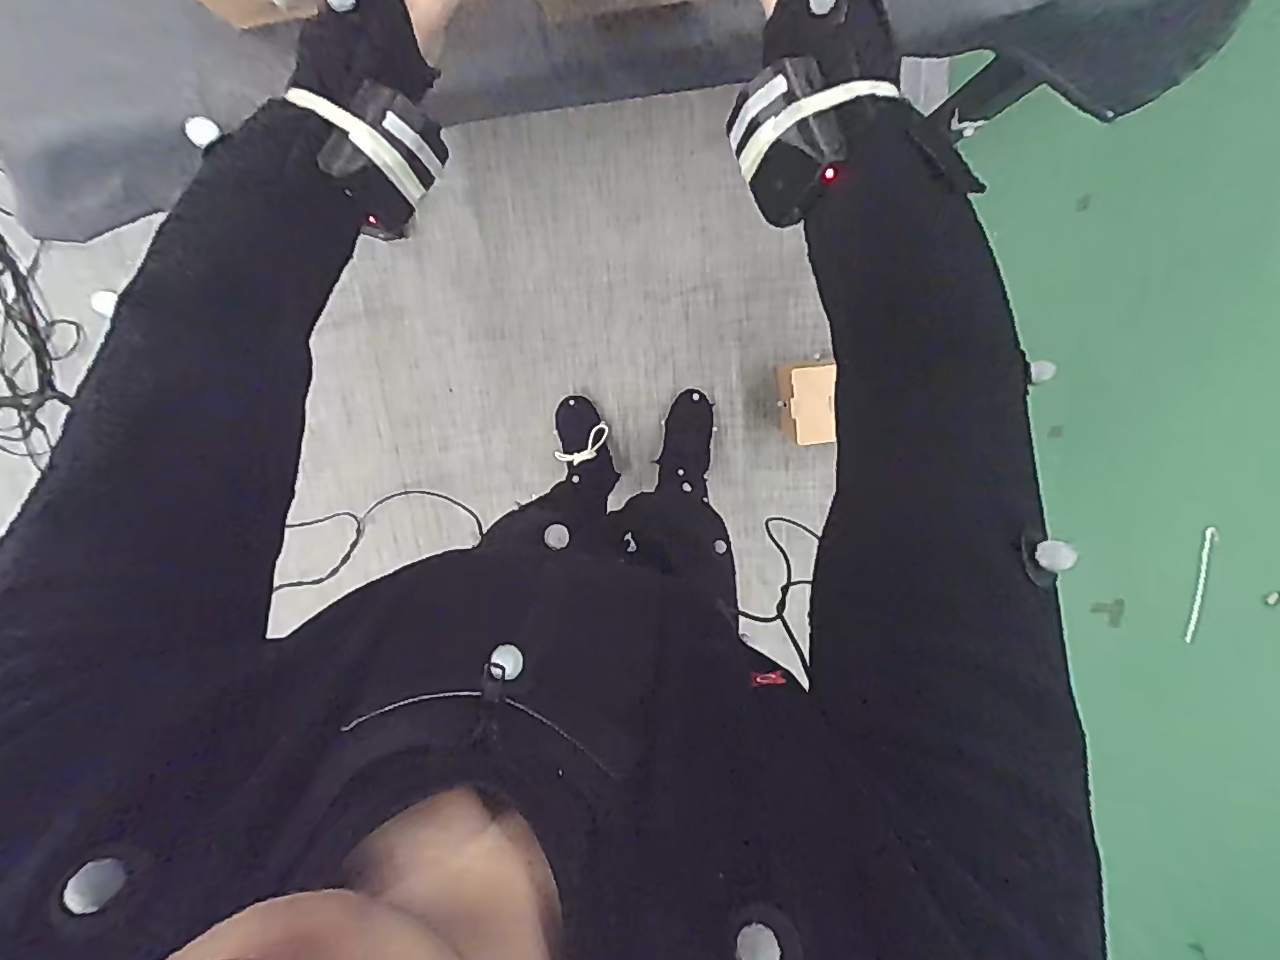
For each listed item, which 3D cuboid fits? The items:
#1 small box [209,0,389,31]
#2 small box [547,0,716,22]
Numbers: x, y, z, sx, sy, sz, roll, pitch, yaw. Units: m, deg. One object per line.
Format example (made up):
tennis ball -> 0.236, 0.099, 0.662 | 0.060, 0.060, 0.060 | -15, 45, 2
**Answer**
small box -> -0.318, -0.496, 0.409 | 0.168, 0.176, 0.179 | -7, 105, 6
small box -> -0.011, -0.426, 0.331 | 0.168, 0.176, 0.179 | -4, 116, 7
